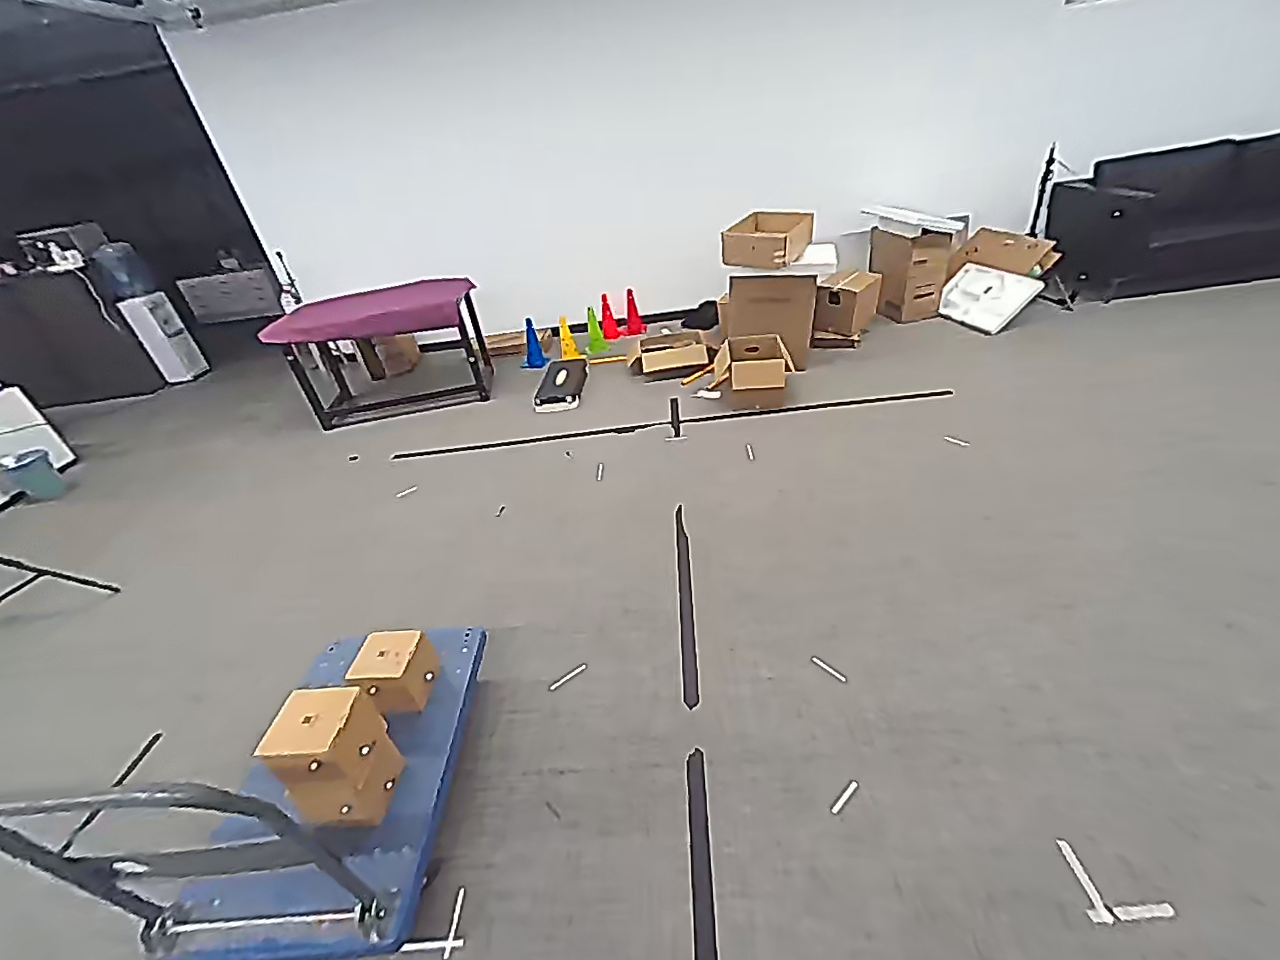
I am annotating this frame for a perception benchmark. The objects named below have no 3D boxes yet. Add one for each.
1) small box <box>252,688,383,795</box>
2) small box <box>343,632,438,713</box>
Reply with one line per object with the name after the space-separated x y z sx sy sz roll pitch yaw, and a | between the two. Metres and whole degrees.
-0.741 0.613 1.265 0.179 0.176 0.168 -5 34 4 | small box
-0.734 0.576 1.611 0.179 0.176 0.168 -4 35 6 | small box
